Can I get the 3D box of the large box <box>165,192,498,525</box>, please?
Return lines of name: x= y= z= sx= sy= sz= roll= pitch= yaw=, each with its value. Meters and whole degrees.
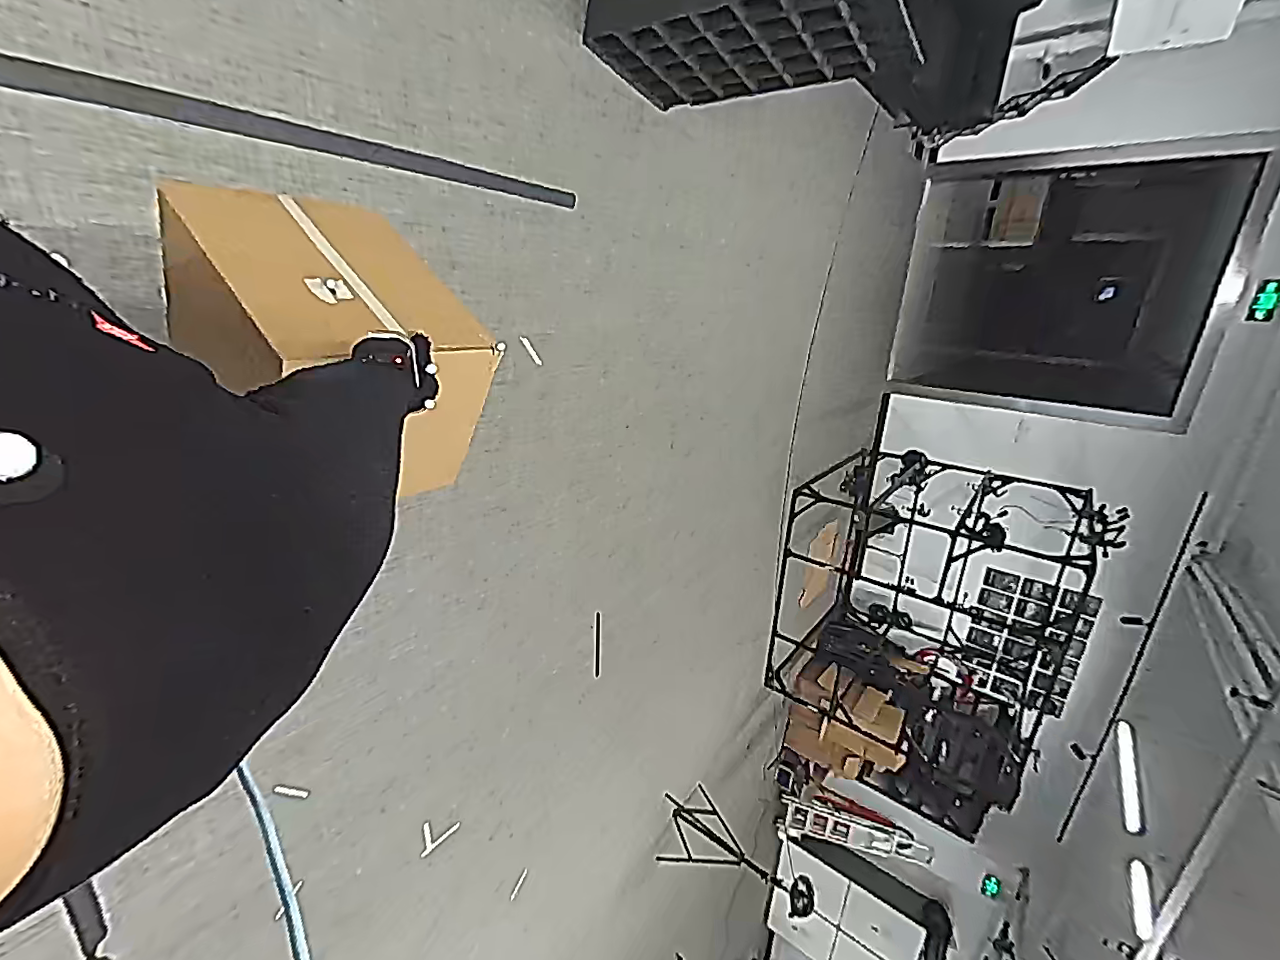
large box: x=-0.516 y=-0.199 z=0.896 sx=0.320 sy=0.408 sz=0.320 roll=-21 pitch=152 yaw=-49
